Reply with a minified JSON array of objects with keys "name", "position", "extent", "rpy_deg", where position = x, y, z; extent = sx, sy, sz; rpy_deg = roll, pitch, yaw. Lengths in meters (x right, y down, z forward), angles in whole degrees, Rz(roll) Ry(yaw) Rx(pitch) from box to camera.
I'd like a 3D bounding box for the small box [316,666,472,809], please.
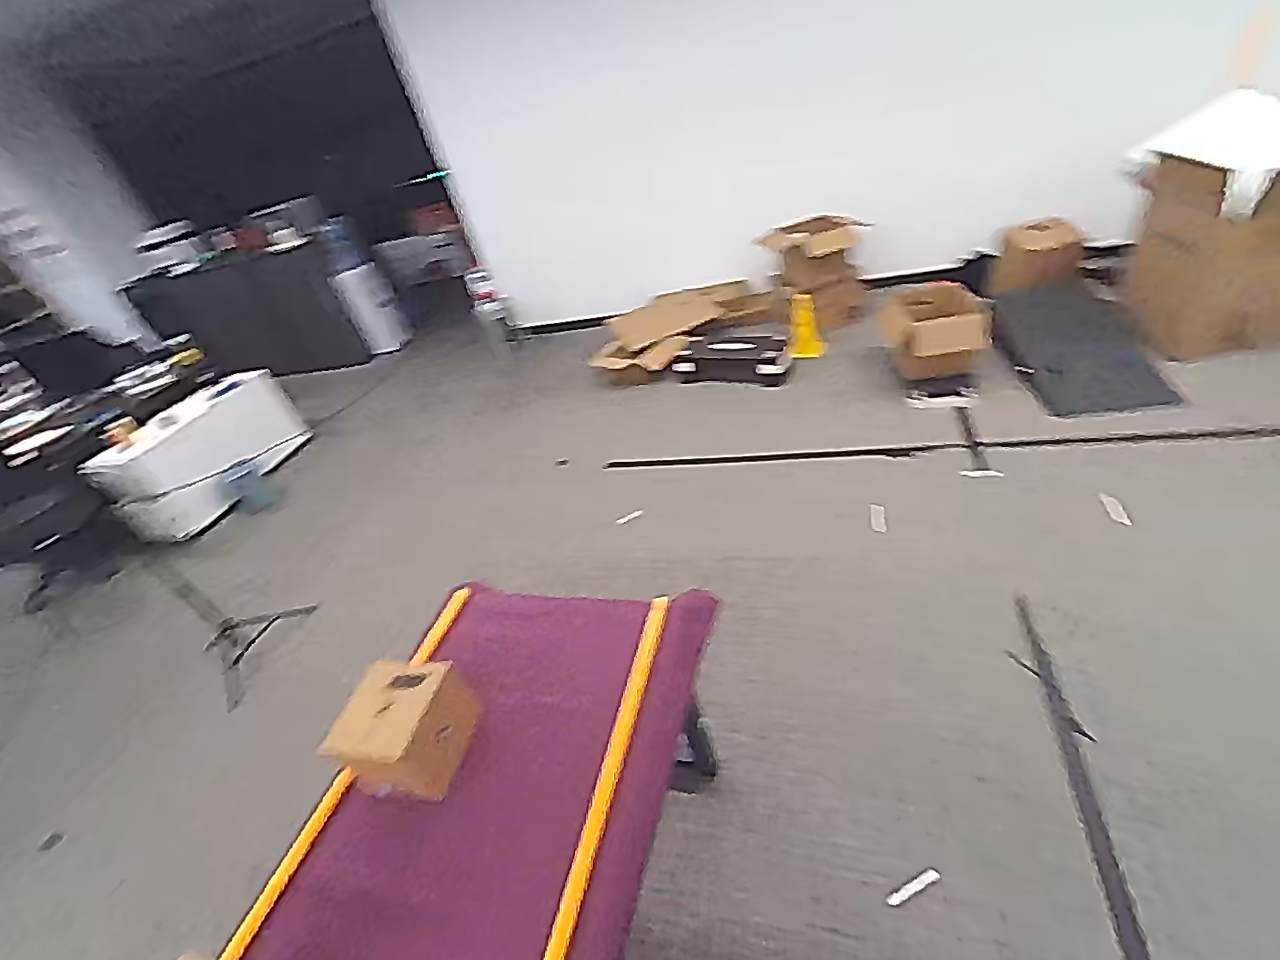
[{"name":"small box","position":[-0.434,0.469,0.993],"extent":[0.168,0.176,0.179],"rpy_deg":[-3,40,17]}]
